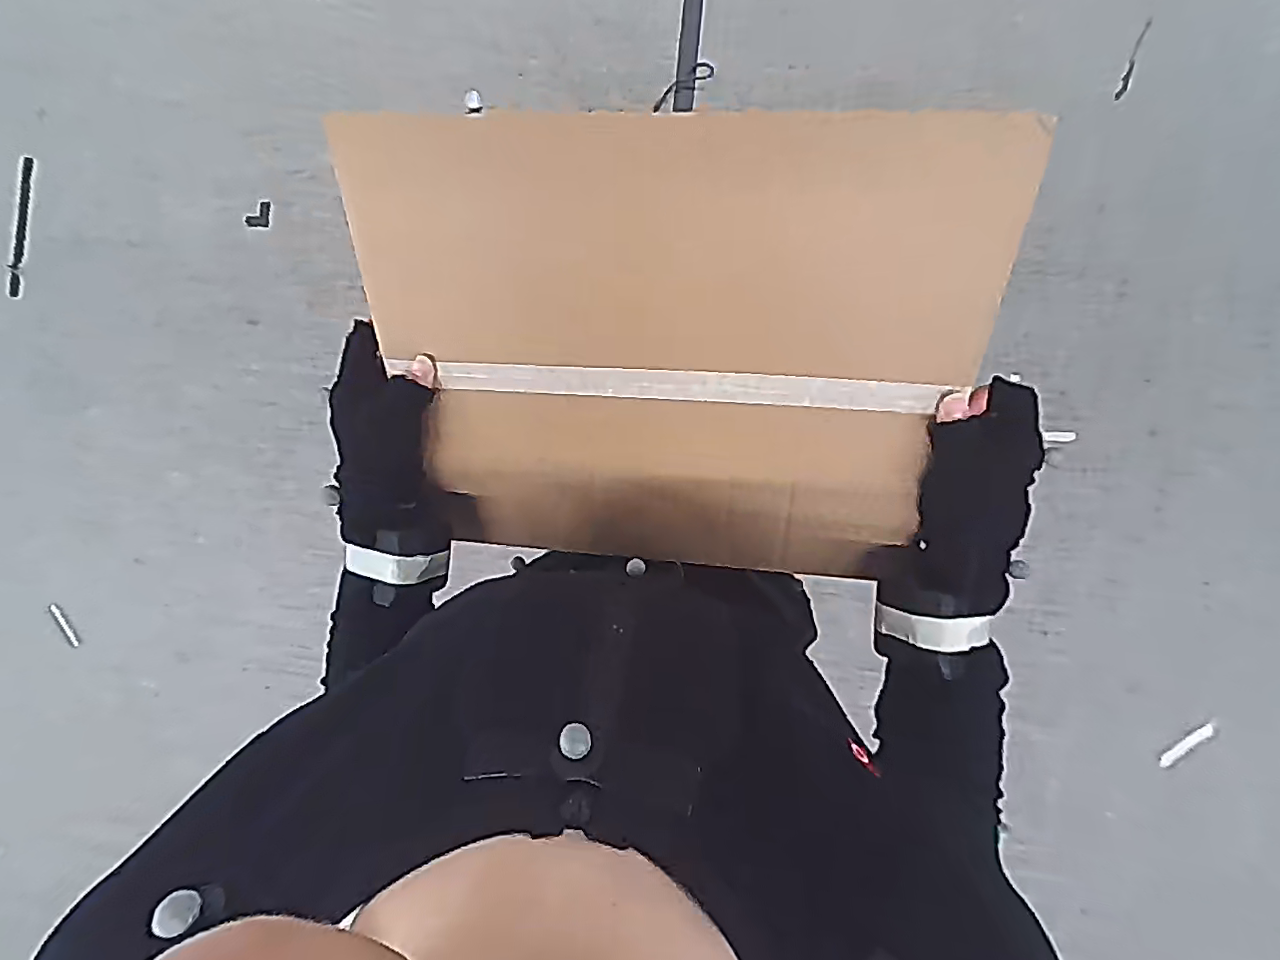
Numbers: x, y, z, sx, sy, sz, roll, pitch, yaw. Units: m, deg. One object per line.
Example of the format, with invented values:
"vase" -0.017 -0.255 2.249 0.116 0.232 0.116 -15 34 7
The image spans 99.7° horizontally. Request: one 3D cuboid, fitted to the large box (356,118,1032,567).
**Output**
"large box" 0.036 -0.146 0.515 0.408 0.320 0.320 5 122 7
